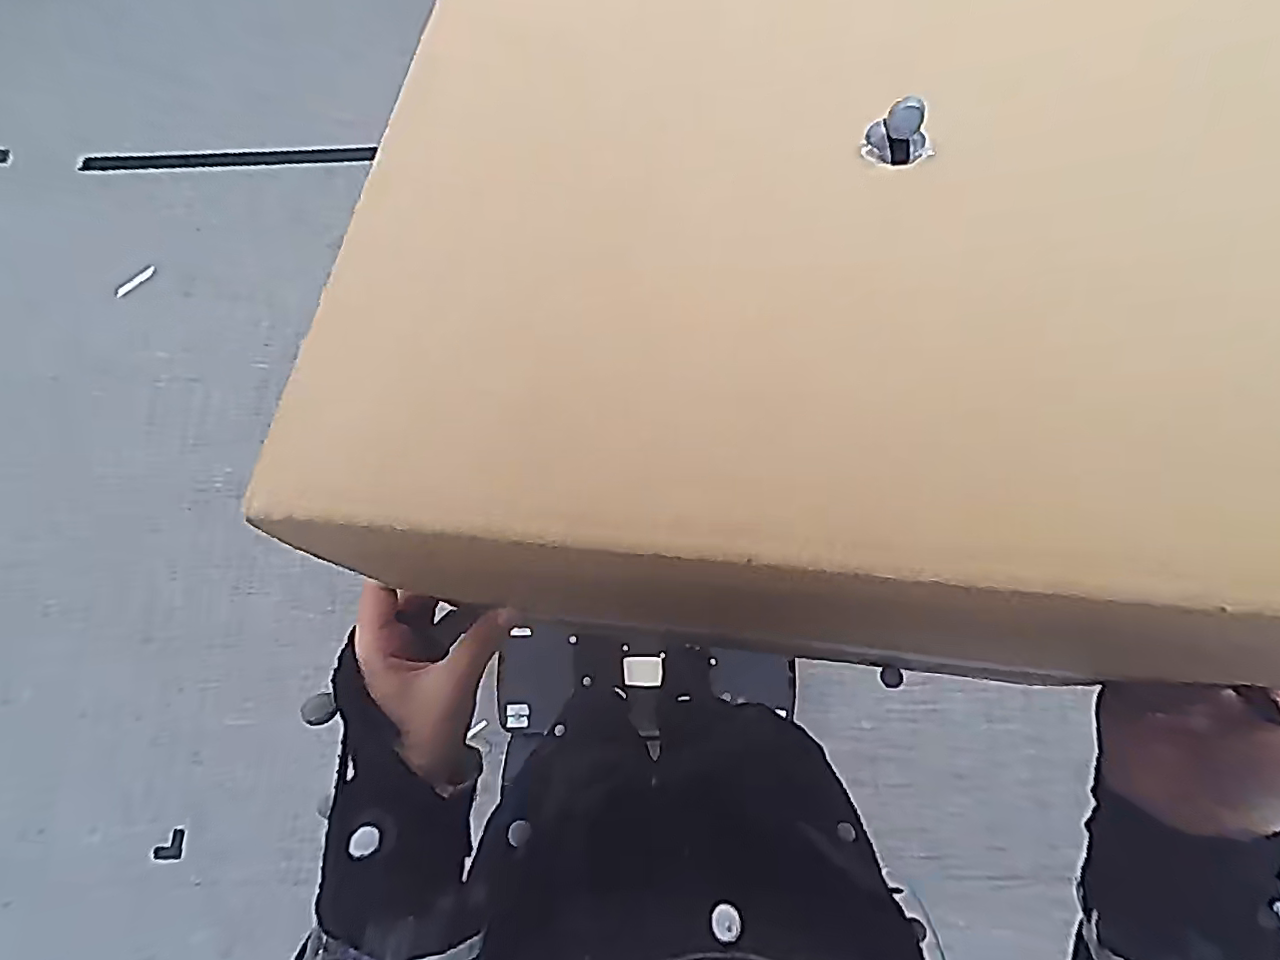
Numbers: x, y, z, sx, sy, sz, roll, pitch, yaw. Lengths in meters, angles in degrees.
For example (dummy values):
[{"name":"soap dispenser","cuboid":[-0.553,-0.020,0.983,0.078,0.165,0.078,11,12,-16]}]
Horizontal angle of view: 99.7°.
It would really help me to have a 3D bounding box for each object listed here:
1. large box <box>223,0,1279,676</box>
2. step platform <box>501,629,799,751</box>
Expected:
[{"name":"large box","cuboid":[0.083,-0.063,0.339,0.408,0.320,0.320,3,71,5]},{"name":"step platform","cuboid":[0.023,0.443,1.283,0.684,0.204,0.286,5,80,2]}]
